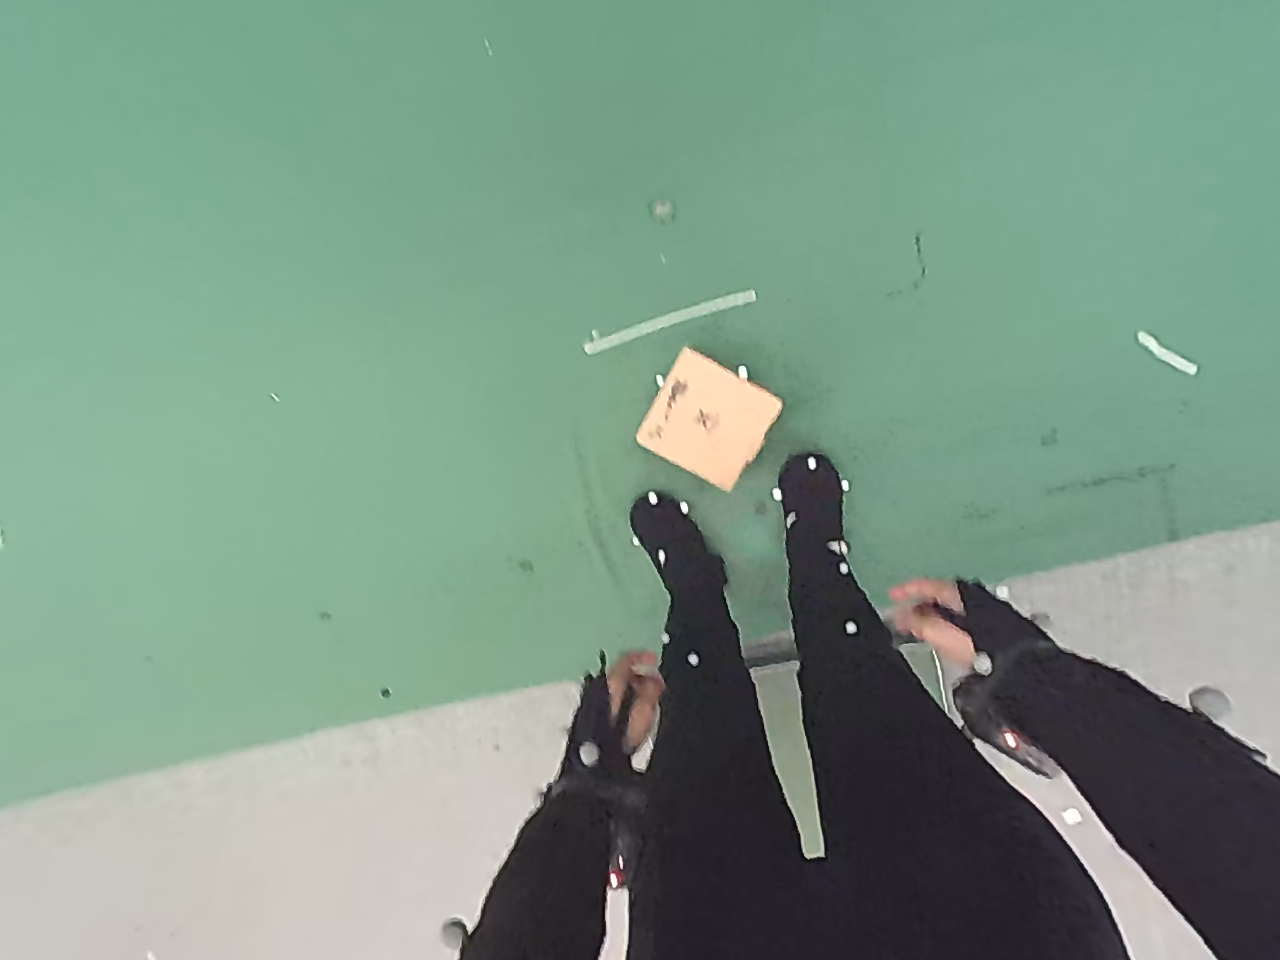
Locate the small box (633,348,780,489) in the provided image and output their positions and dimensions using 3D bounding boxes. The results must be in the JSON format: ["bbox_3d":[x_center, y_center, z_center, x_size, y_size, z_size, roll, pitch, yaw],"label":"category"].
[{"bbox_3d":[0.108,-0.114,0.916,0.179,0.176,0.168,29,107,-3],"label":"small box"}]
